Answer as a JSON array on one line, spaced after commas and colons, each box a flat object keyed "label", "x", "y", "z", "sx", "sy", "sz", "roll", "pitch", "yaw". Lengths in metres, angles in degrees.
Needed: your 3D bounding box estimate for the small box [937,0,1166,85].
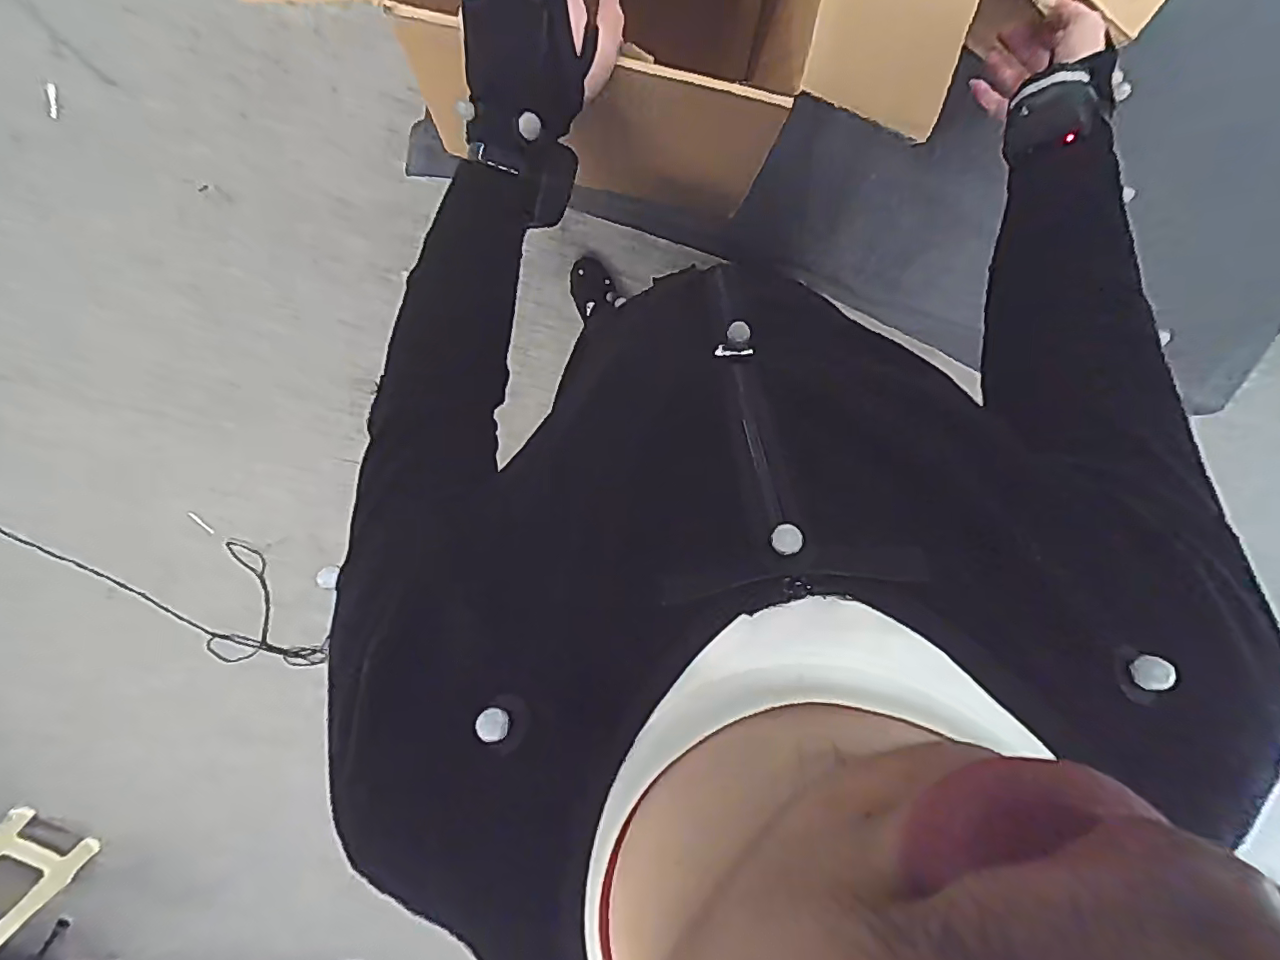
[{"label": "small box", "x": 0.439, "y": -0.549, "z": 0.544, "sx": 0.168, "sy": 0.176, "sz": 0.179, "roll": 28, "pitch": 109, "yaw": -14}]
